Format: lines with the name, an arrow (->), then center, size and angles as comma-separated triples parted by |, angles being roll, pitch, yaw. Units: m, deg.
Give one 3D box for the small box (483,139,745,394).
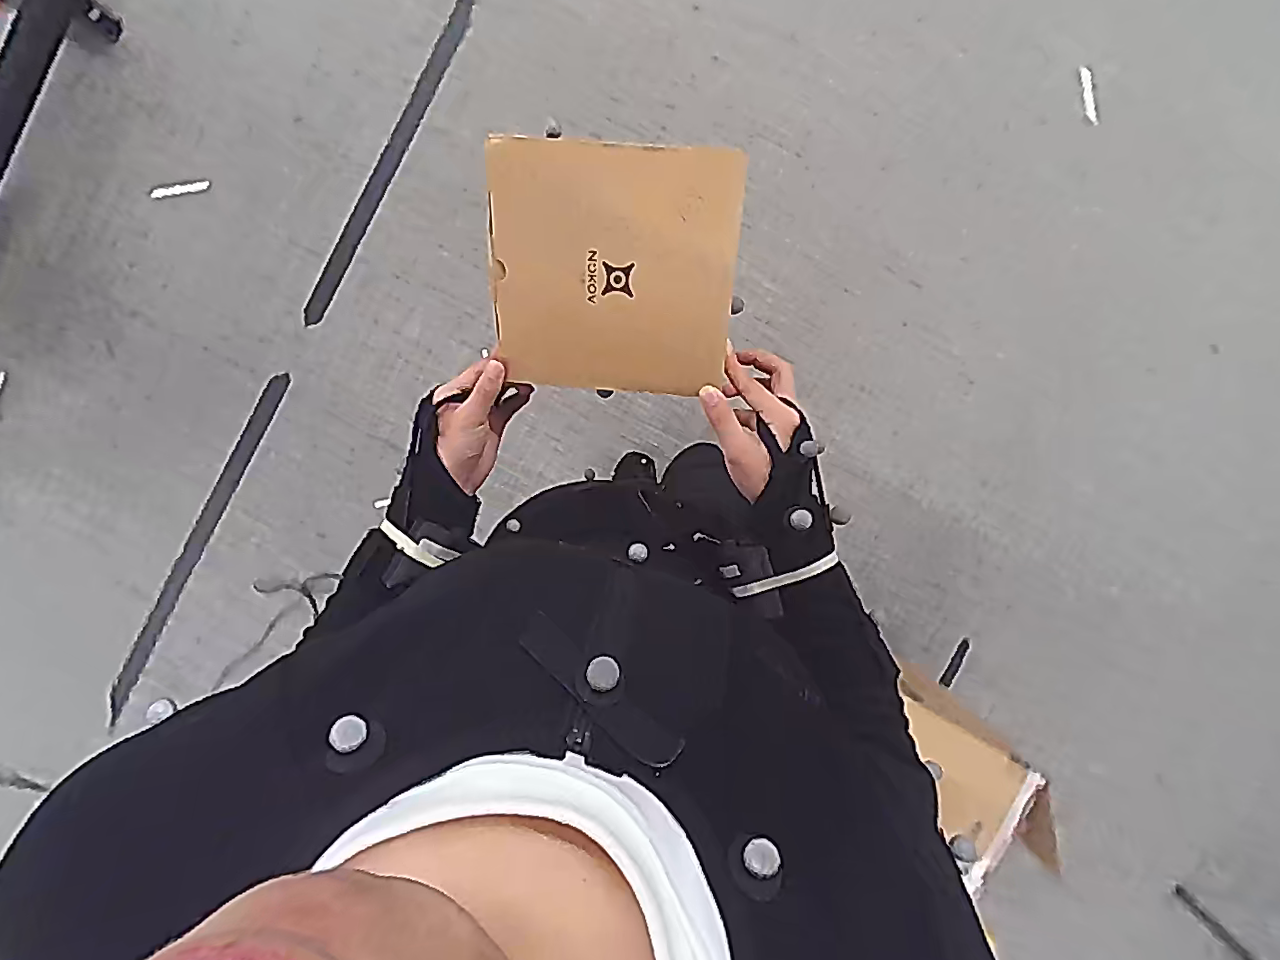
small box -> -0.015, -0.180, 0.457 | 0.179, 0.176, 0.168 | 4, 116, 4
